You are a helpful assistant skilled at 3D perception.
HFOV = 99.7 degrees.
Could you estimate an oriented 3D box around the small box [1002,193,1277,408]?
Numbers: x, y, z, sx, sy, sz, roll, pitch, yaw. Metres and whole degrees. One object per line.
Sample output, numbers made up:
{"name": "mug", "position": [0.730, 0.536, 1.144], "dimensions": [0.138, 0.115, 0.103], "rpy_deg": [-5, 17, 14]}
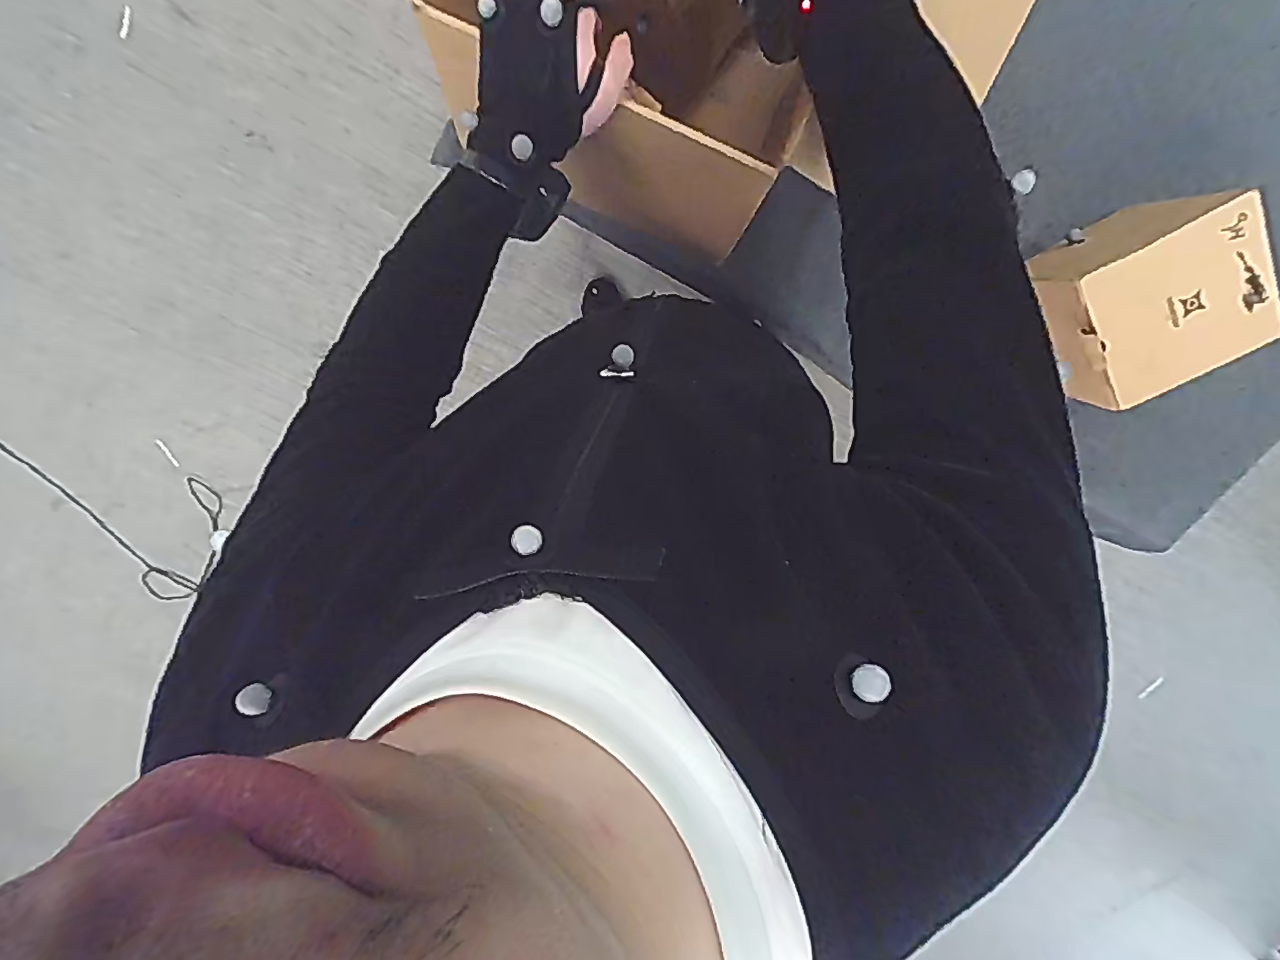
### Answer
{"name": "small box", "position": [0.581, -0.212, 0.657], "dimensions": [0.179, 0.176, 0.168], "rpy_deg": [-27, 107, 13]}
